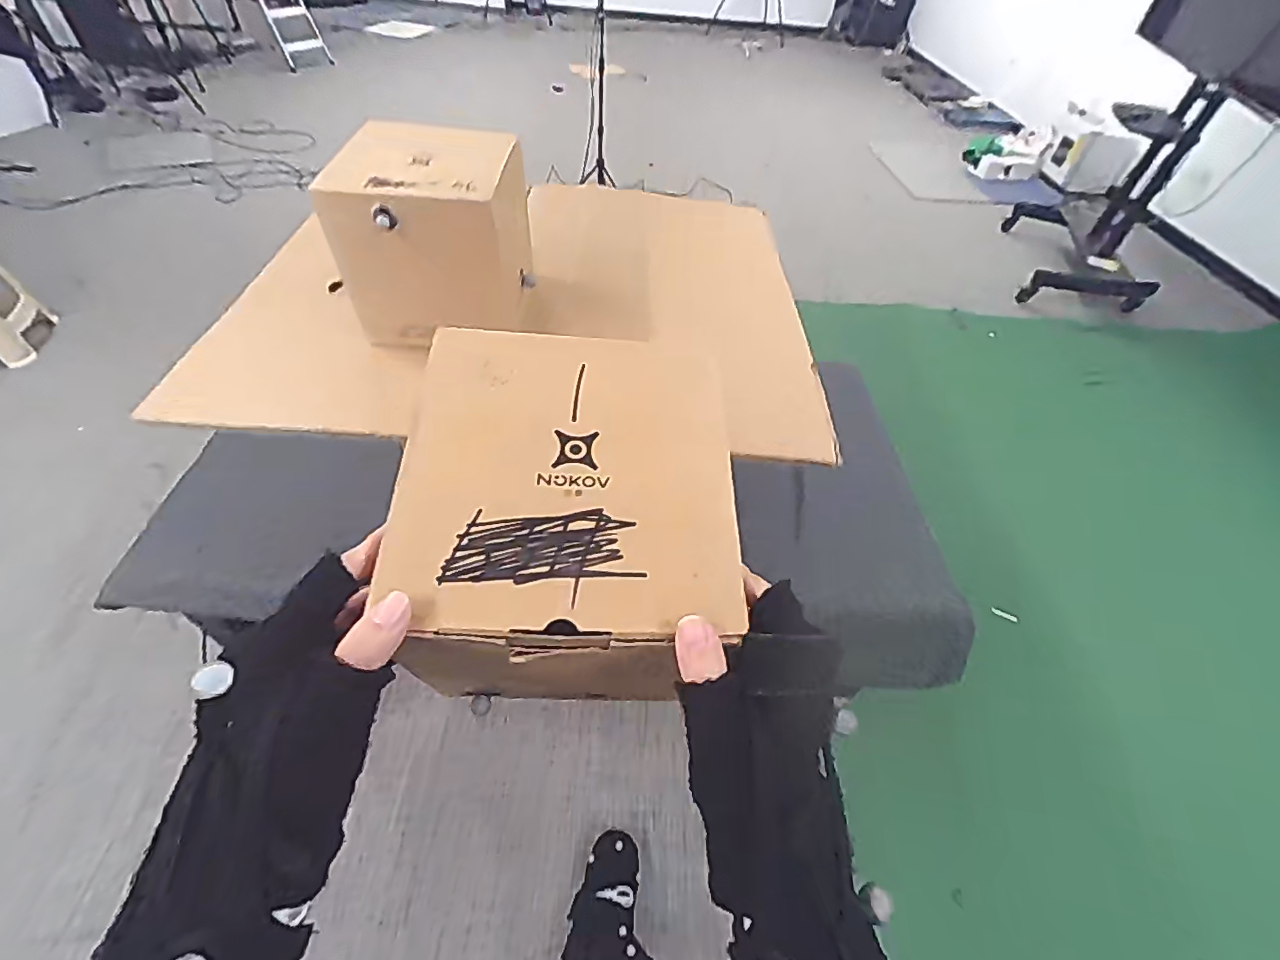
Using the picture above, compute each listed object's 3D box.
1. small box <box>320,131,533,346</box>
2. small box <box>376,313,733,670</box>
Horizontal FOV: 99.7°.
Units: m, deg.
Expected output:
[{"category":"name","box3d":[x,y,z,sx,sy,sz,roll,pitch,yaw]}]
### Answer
[{"category":"small box","box3d":[-0.219,-0.270,0.615,0.168,0.176,0.179,3,49,-2]},{"category":"small box","box3d":[-0.043,0.019,0.354,0.168,0.176,0.179,3,58,-5]}]
